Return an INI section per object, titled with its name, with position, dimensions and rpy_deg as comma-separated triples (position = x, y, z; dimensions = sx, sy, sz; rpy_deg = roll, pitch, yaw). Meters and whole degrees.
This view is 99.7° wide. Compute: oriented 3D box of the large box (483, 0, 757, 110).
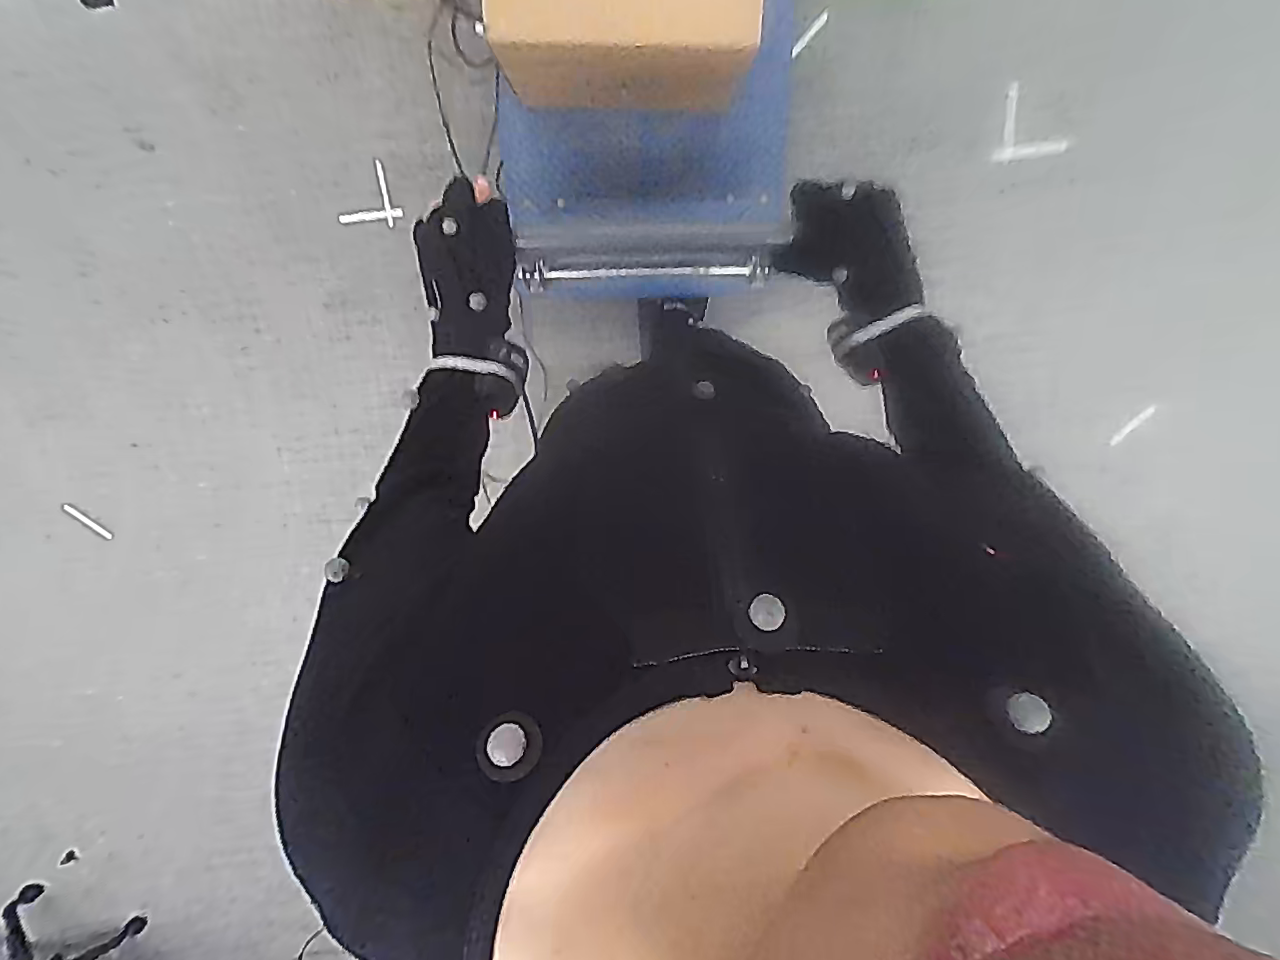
[large box]
position = -0.029, -0.831, 0.891
dimensions = 0.408, 0.320, 0.320
rpy_deg = 0, 109, -1
